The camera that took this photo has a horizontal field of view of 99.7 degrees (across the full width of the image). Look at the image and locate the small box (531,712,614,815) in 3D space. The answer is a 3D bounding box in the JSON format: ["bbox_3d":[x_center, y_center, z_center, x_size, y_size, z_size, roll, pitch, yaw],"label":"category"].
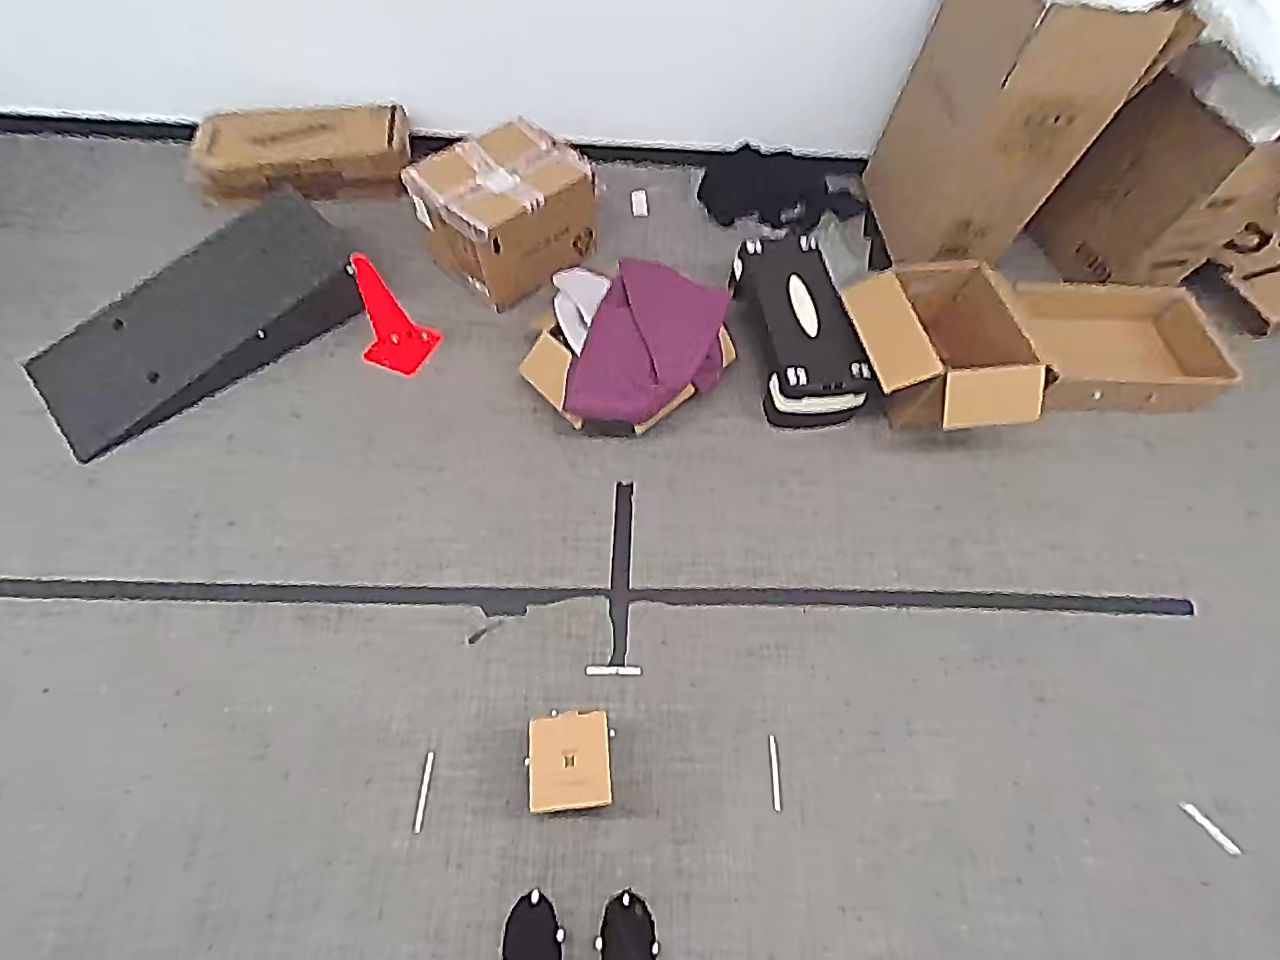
[{"bbox_3d":[-0.146,0.616,1.180,0.168,0.176,0.179,-5,63,-4],"label":"small box"}]
